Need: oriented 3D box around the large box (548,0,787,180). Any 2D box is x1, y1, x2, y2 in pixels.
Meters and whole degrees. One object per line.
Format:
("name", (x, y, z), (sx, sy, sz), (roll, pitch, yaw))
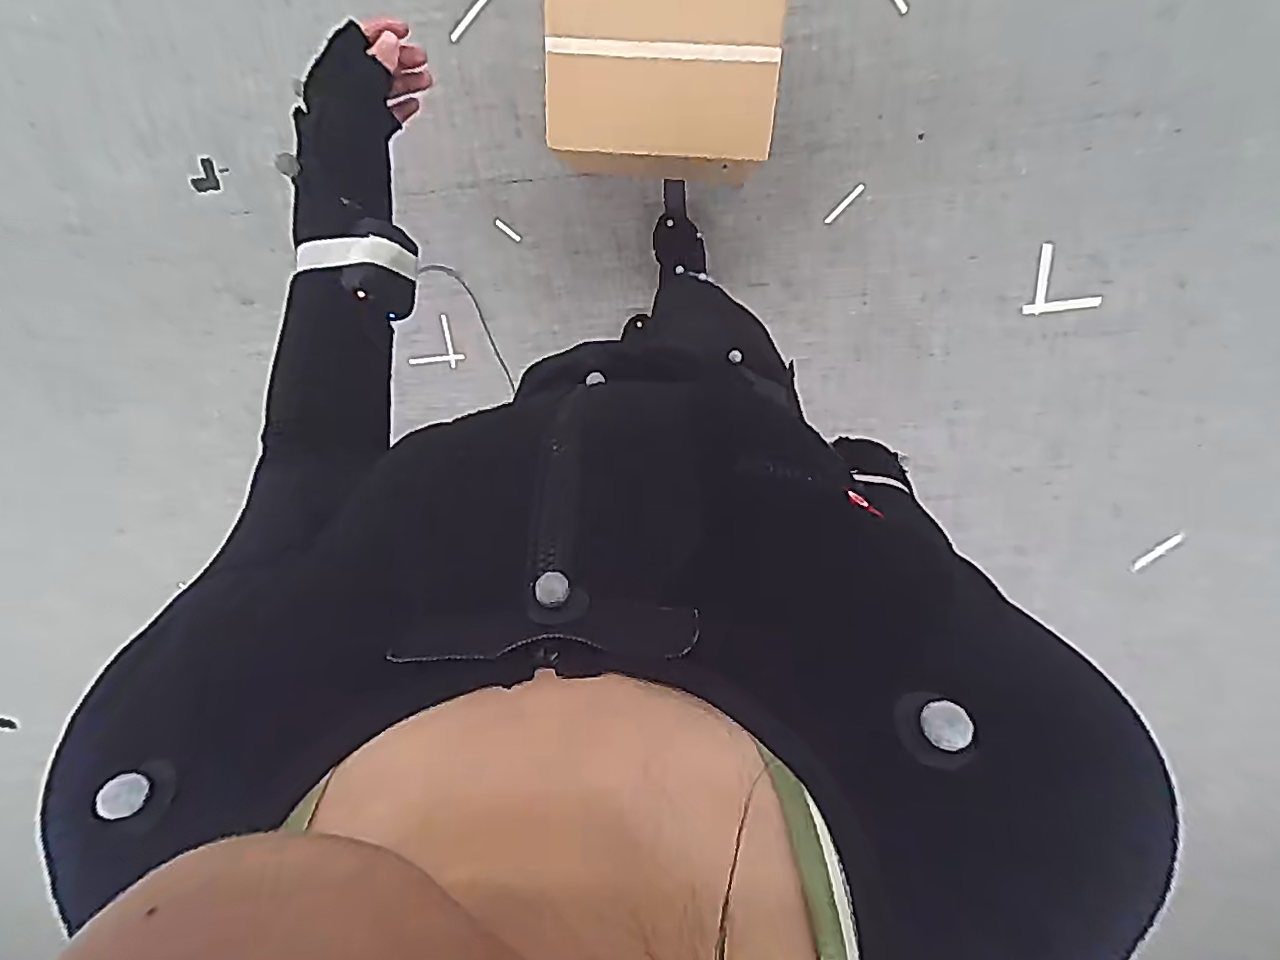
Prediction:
("large box", (0.049, -0.782, 1.059), (0.408, 0.320, 0.320), (4, 112, 1))
